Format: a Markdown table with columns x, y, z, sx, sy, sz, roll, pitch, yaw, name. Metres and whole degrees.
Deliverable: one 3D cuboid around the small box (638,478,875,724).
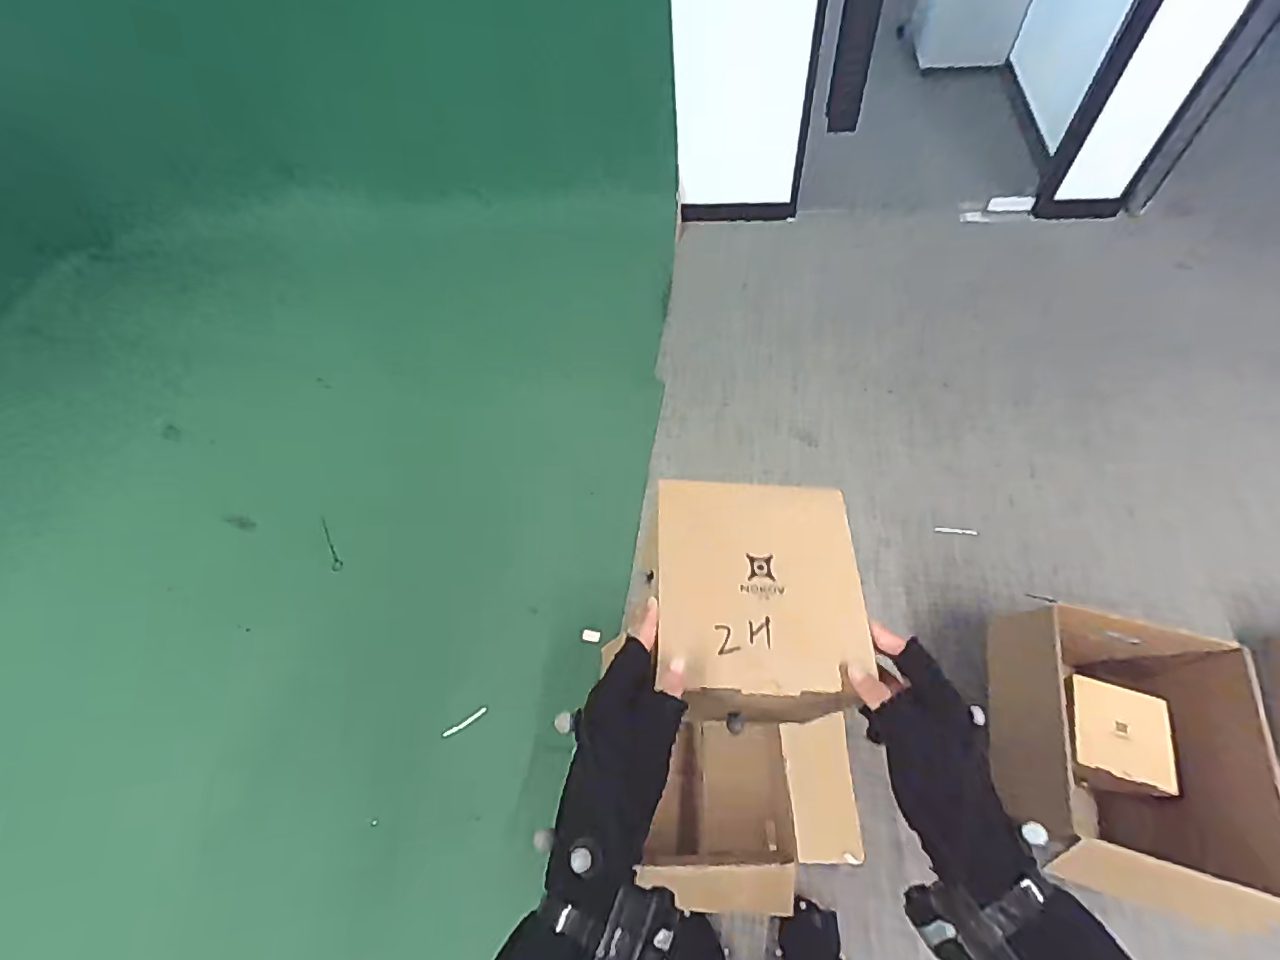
| x | y | z | sx | sy | sz | roll | pitch | yaw | name |
| --- | --- | --- | --- | --- | --- | --- | --- | --- | --- |
| 0.085 | 0.117 | 0.497 | 0.168 | 0.176 | 0.179 | 3 | 60 | -3 | small box |
